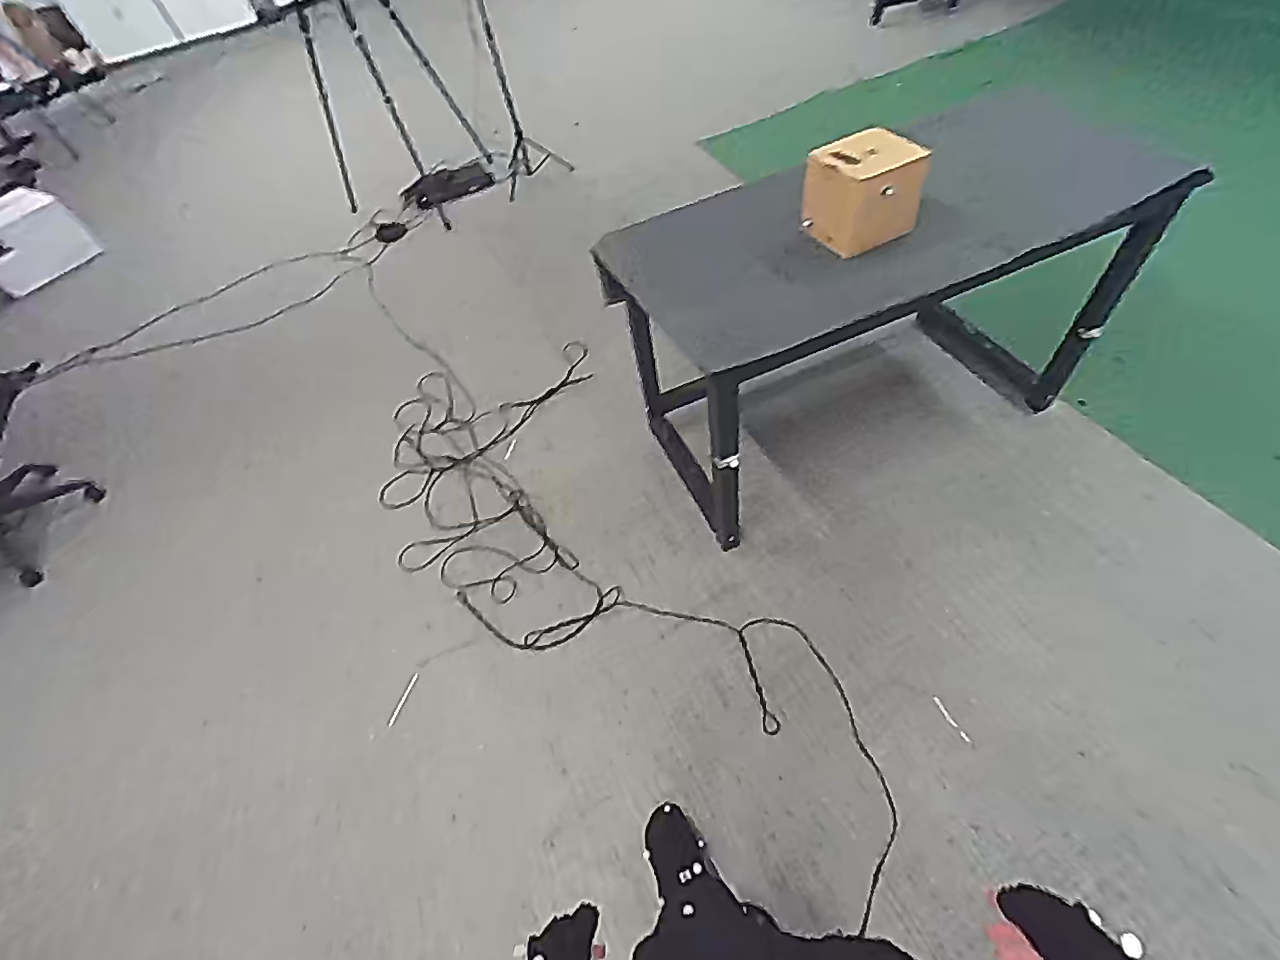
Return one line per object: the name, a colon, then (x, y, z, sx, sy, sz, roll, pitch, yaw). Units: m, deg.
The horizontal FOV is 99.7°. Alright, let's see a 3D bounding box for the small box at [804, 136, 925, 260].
small box: (0.472, -0.606, 1.171, 0.179, 0.176, 0.168, -25, 53, -9)
